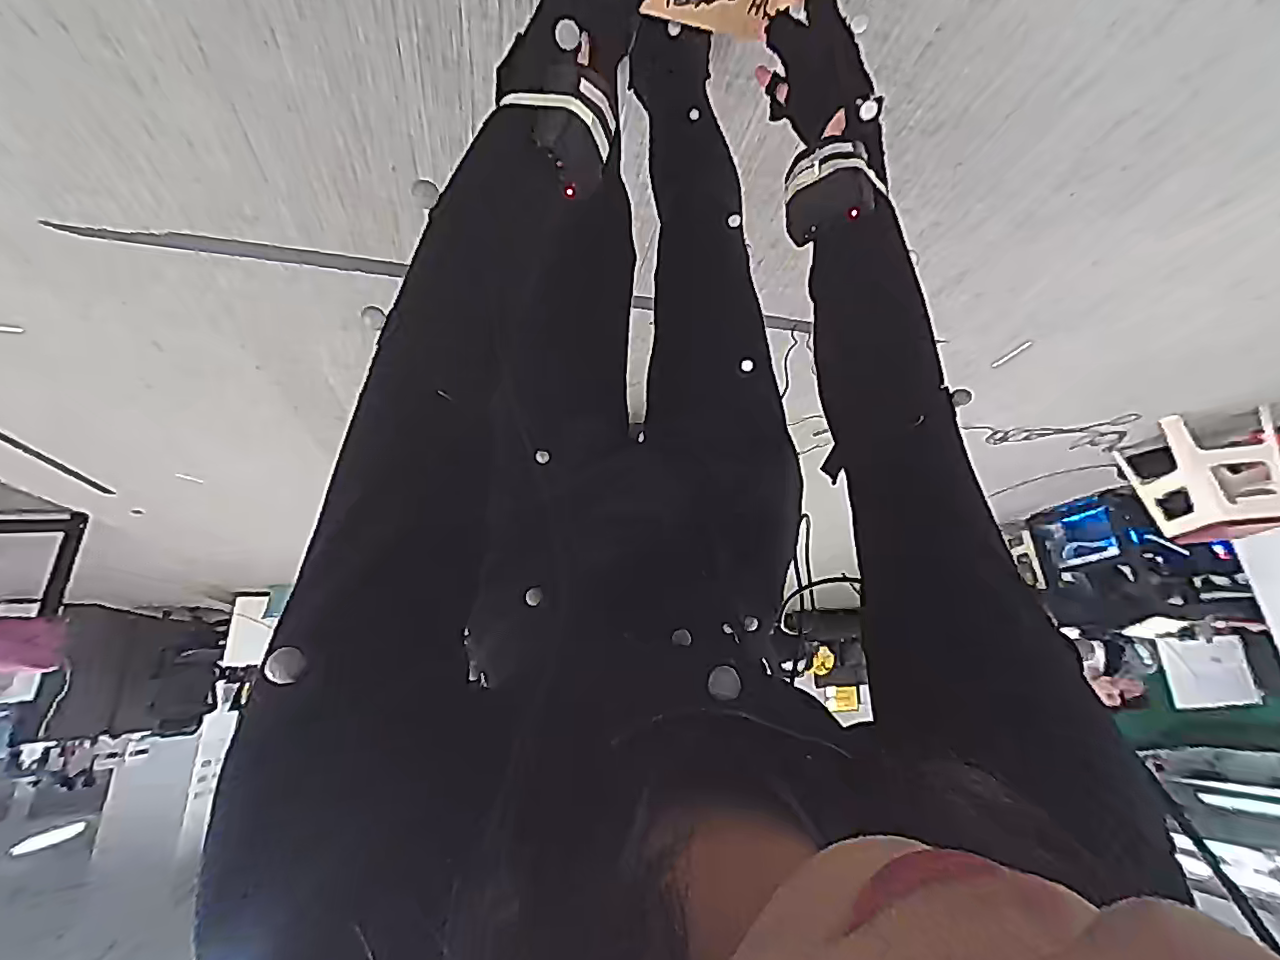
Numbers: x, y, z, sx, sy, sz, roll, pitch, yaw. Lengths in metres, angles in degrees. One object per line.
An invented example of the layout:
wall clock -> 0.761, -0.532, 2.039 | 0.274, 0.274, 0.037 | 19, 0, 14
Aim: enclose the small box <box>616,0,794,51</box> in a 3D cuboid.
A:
small box -> 0.062, -0.536, 0.492 | 0.168, 0.176, 0.179 | 3, 140, -14
